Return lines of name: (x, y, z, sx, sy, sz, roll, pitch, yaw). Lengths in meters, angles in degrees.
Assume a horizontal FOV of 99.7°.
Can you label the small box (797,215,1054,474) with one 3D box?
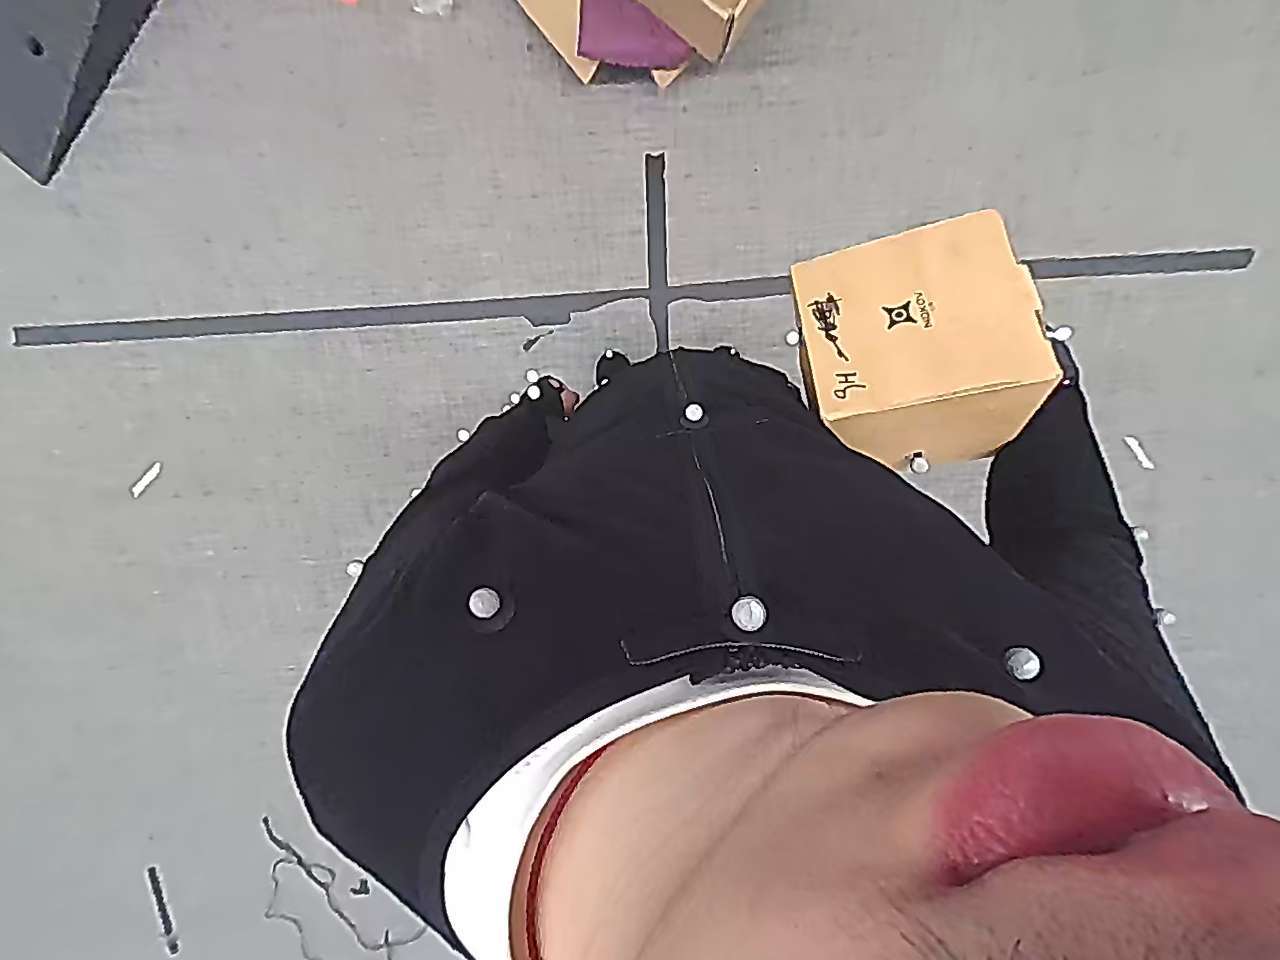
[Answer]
small box: (0.260, -0.119, 0.541, 0.179, 0.176, 0.168, -10, 68, 15)
